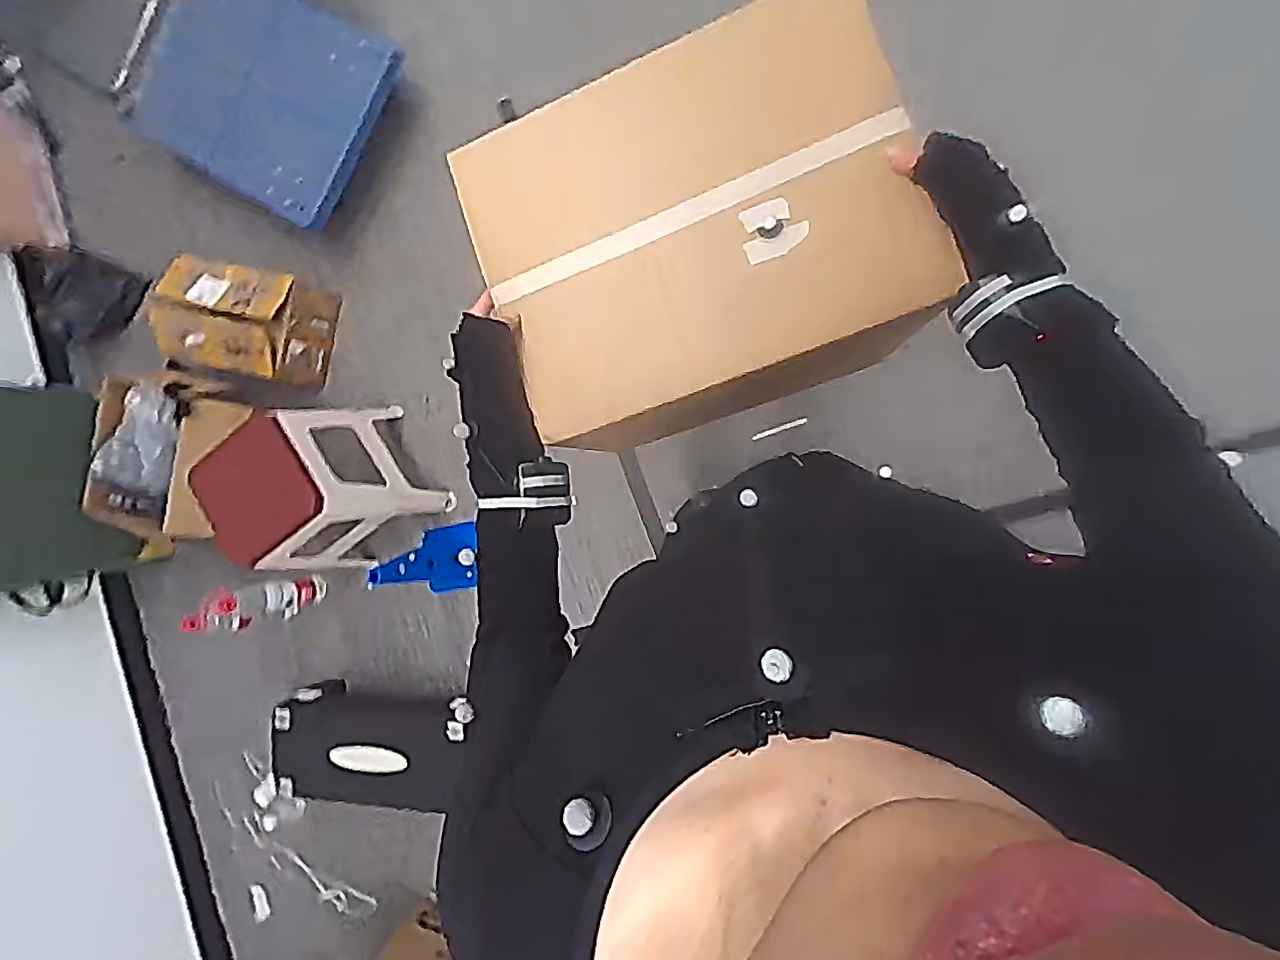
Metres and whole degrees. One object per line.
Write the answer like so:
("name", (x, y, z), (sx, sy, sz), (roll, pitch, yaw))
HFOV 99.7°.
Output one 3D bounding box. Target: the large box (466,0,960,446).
("large box", (0.076, -0.254, 0.654), (0.408, 0.320, 0.320), (-18, 88, 11))
